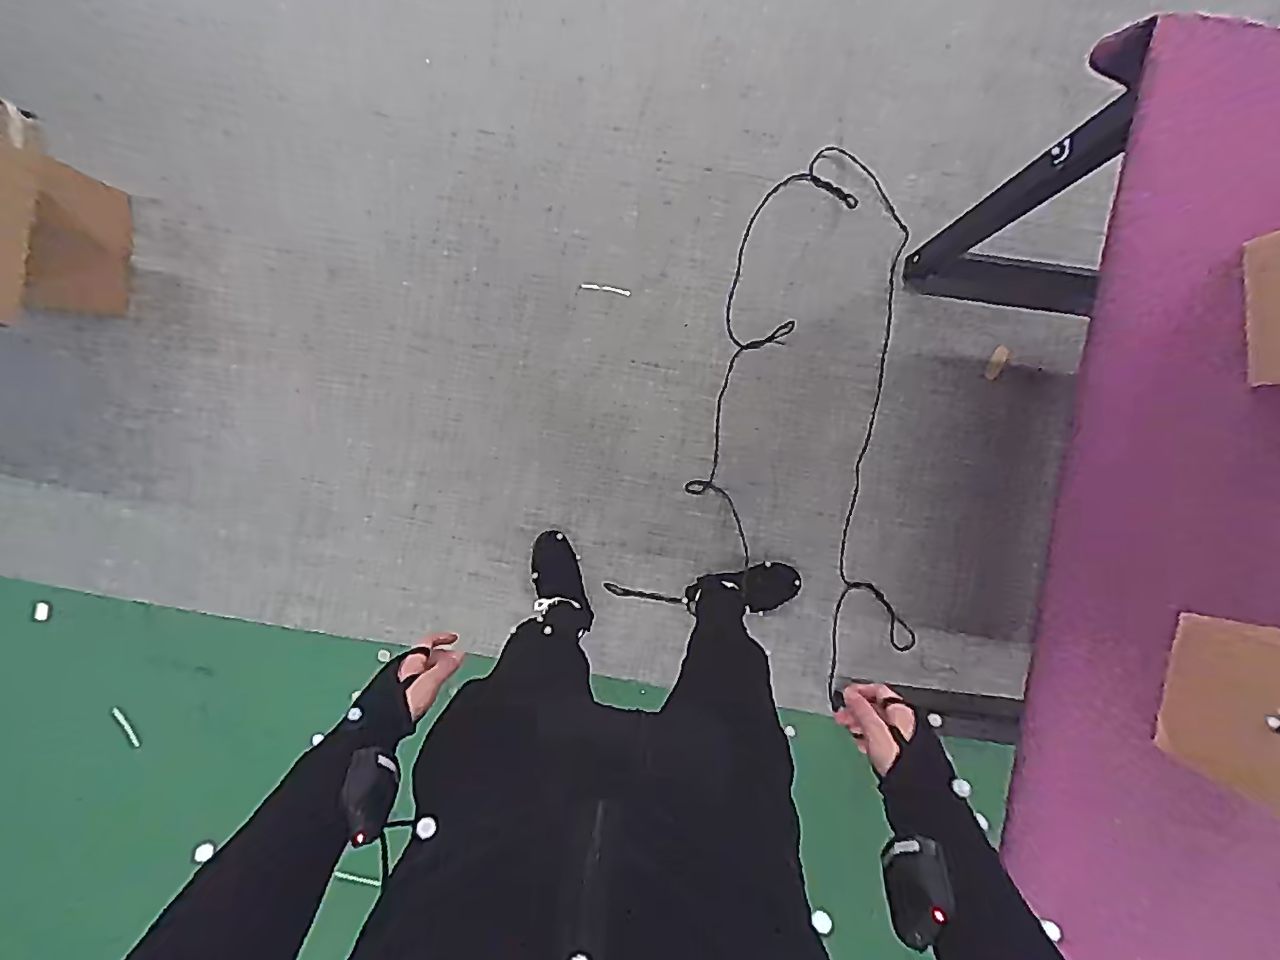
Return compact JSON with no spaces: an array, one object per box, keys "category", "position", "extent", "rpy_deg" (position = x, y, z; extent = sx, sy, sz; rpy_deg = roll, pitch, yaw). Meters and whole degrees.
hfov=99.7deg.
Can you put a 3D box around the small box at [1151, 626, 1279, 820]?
[{"category":"small box","position":[0.740,0.280,0.608],"extent":[0.168,0.176,0.179],"rpy_deg":[11,92,-1]}]
